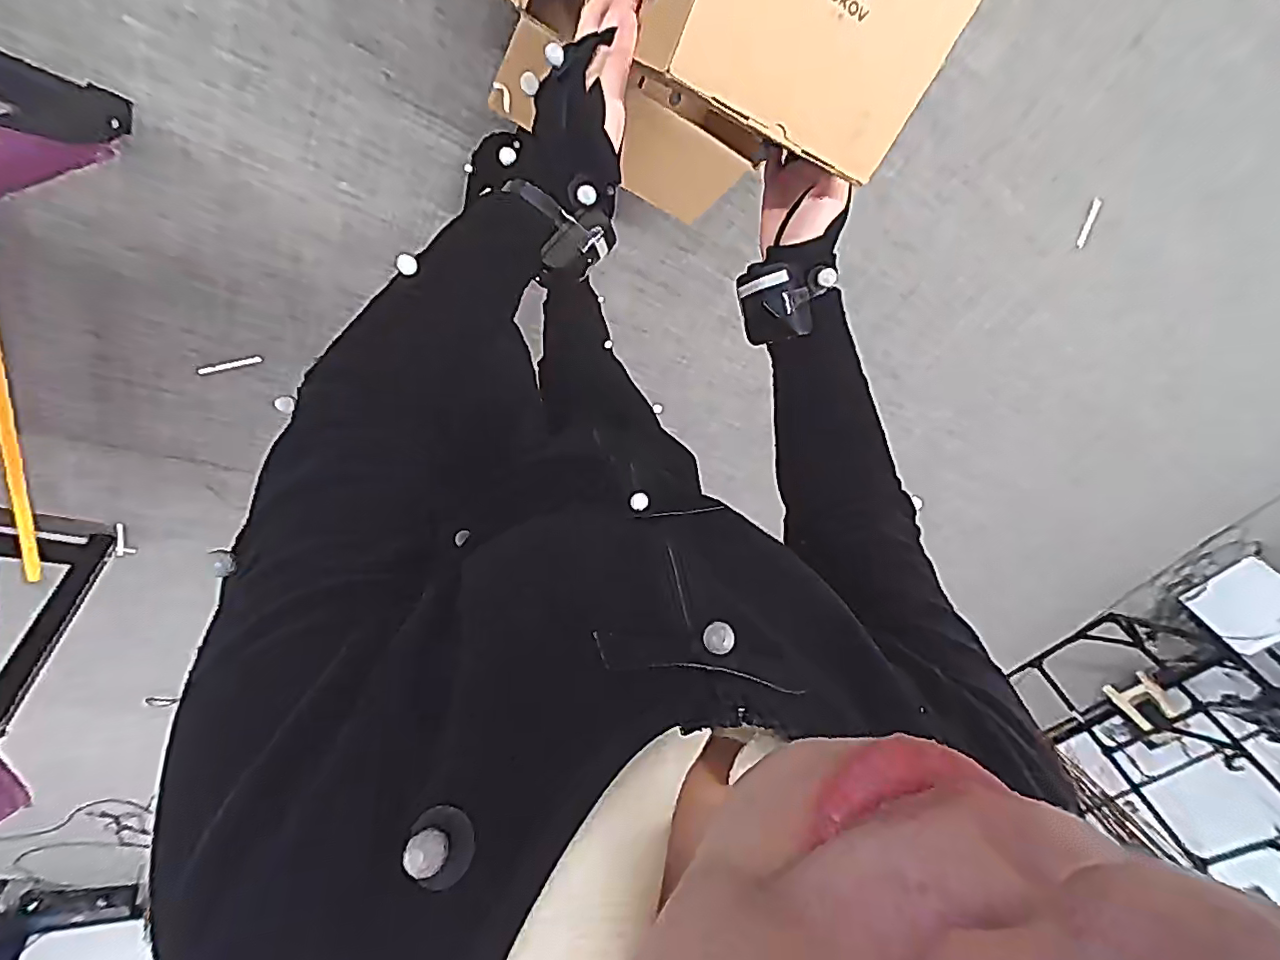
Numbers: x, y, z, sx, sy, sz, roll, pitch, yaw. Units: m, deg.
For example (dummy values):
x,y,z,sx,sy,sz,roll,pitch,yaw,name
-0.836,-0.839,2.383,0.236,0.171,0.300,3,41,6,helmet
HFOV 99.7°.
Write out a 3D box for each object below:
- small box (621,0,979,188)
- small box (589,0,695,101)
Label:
x,y,z,sx,sy,sz,roll,pitch,yaw,name
0.099,-0.334,0.355,0.168,0.176,0.179,10,127,-27,small box
0.067,-0.456,0.493,0.179,0.176,0.168,7,135,-27,small box
